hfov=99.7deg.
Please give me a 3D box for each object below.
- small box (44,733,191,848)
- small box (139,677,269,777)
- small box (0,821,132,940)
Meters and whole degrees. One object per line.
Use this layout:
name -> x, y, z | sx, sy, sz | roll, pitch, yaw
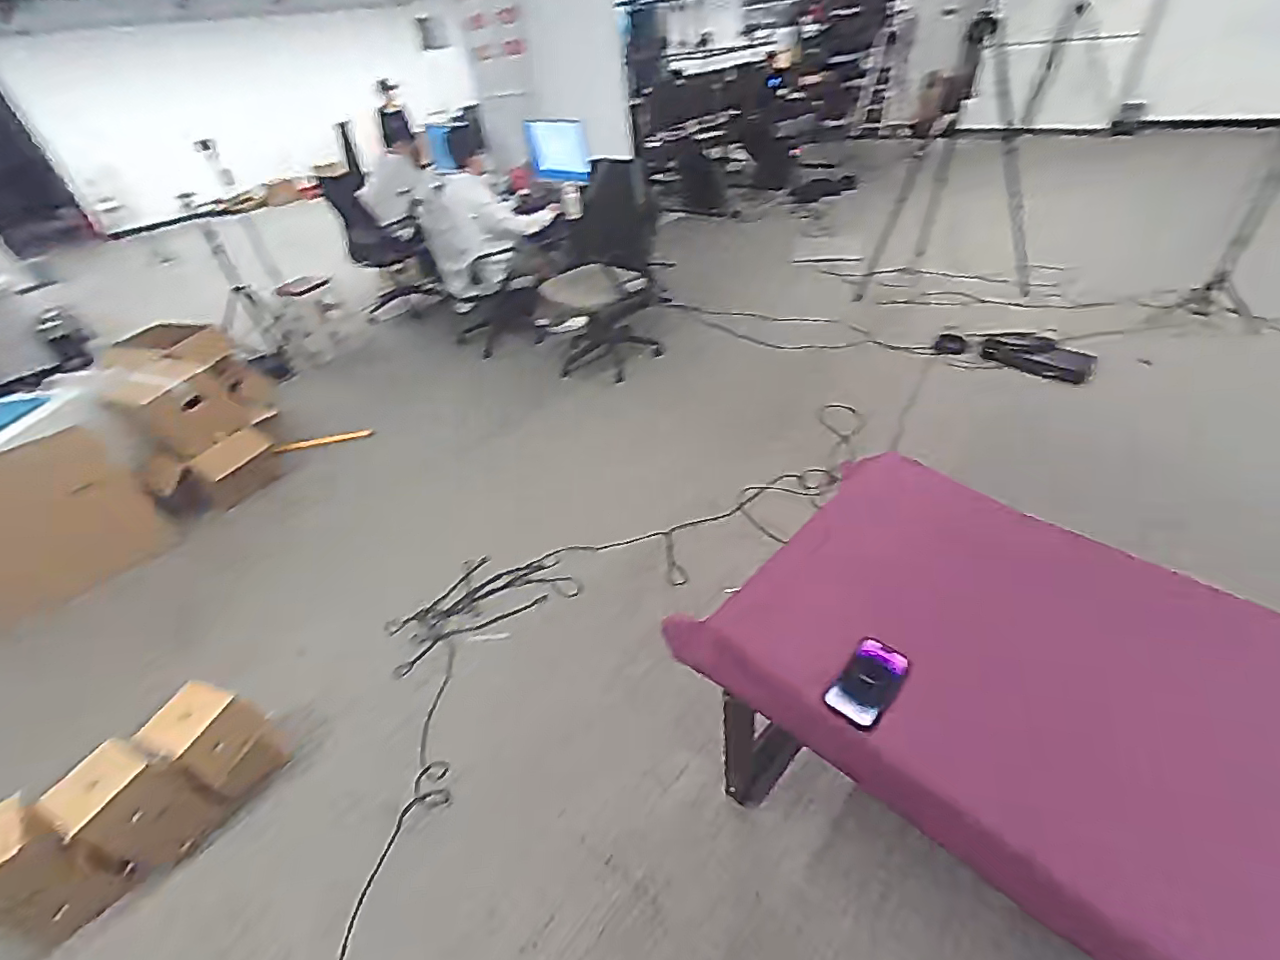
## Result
small box -> -1.268, 0.765, 1.326 | 0.179, 0.176, 0.168 | 13, 44, 25
small box -> -1.141, 0.656, 1.432 | 0.179, 0.176, 0.168 | 7, 41, 19
small box -> -1.418, 0.983, 1.345 | 0.168, 0.176, 0.179 | 27, 52, 37
